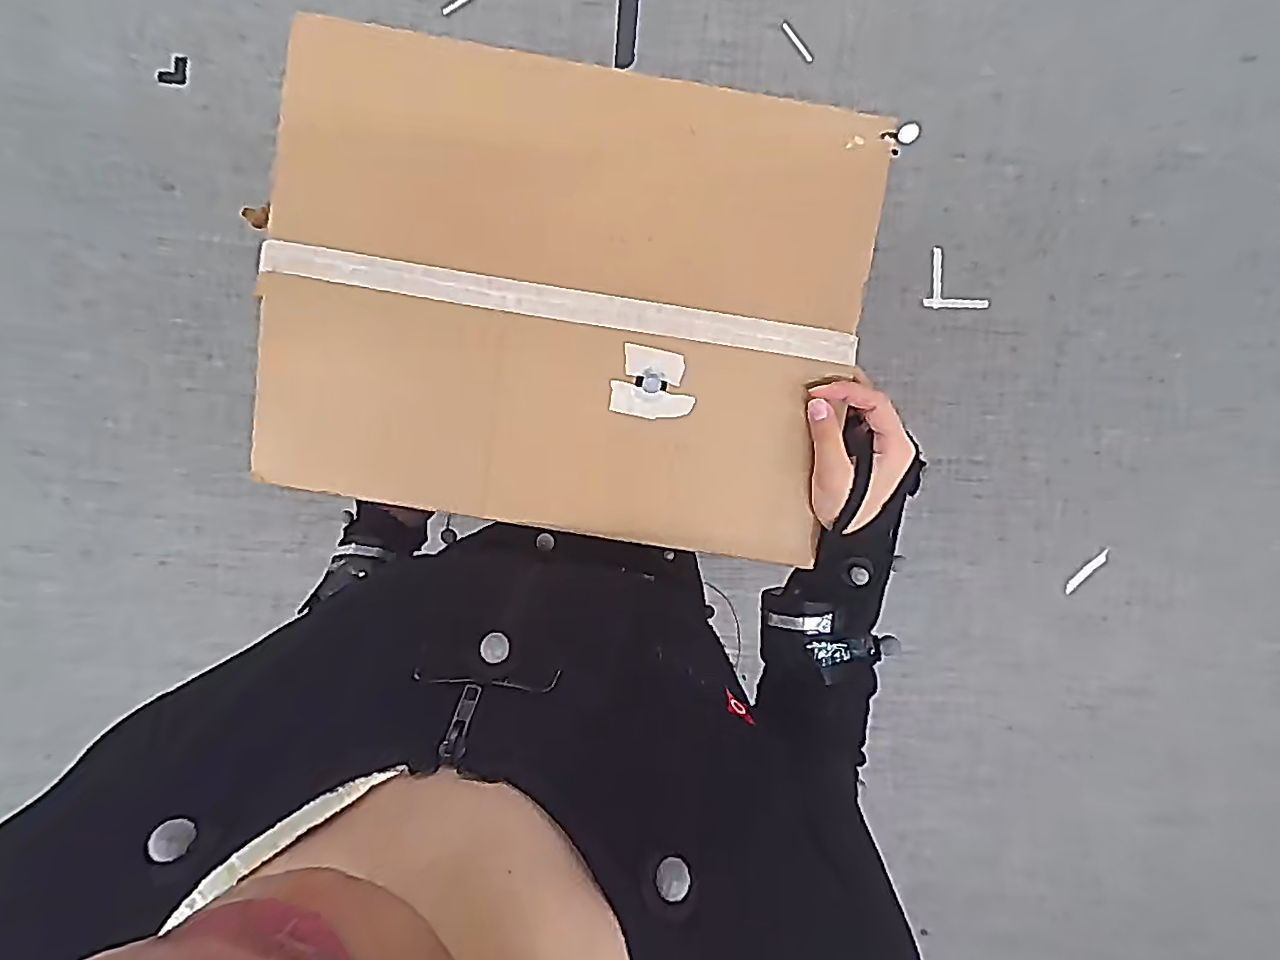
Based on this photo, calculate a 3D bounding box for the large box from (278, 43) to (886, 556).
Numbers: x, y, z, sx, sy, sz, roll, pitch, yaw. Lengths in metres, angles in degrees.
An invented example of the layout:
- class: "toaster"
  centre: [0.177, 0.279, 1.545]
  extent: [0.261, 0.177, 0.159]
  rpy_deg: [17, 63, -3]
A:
- class: "large box"
  centre: [-0.049, -0.131, 0.530]
  extent: [0.408, 0.320, 0.320]
  rpy_deg: [8, 96, -3]
